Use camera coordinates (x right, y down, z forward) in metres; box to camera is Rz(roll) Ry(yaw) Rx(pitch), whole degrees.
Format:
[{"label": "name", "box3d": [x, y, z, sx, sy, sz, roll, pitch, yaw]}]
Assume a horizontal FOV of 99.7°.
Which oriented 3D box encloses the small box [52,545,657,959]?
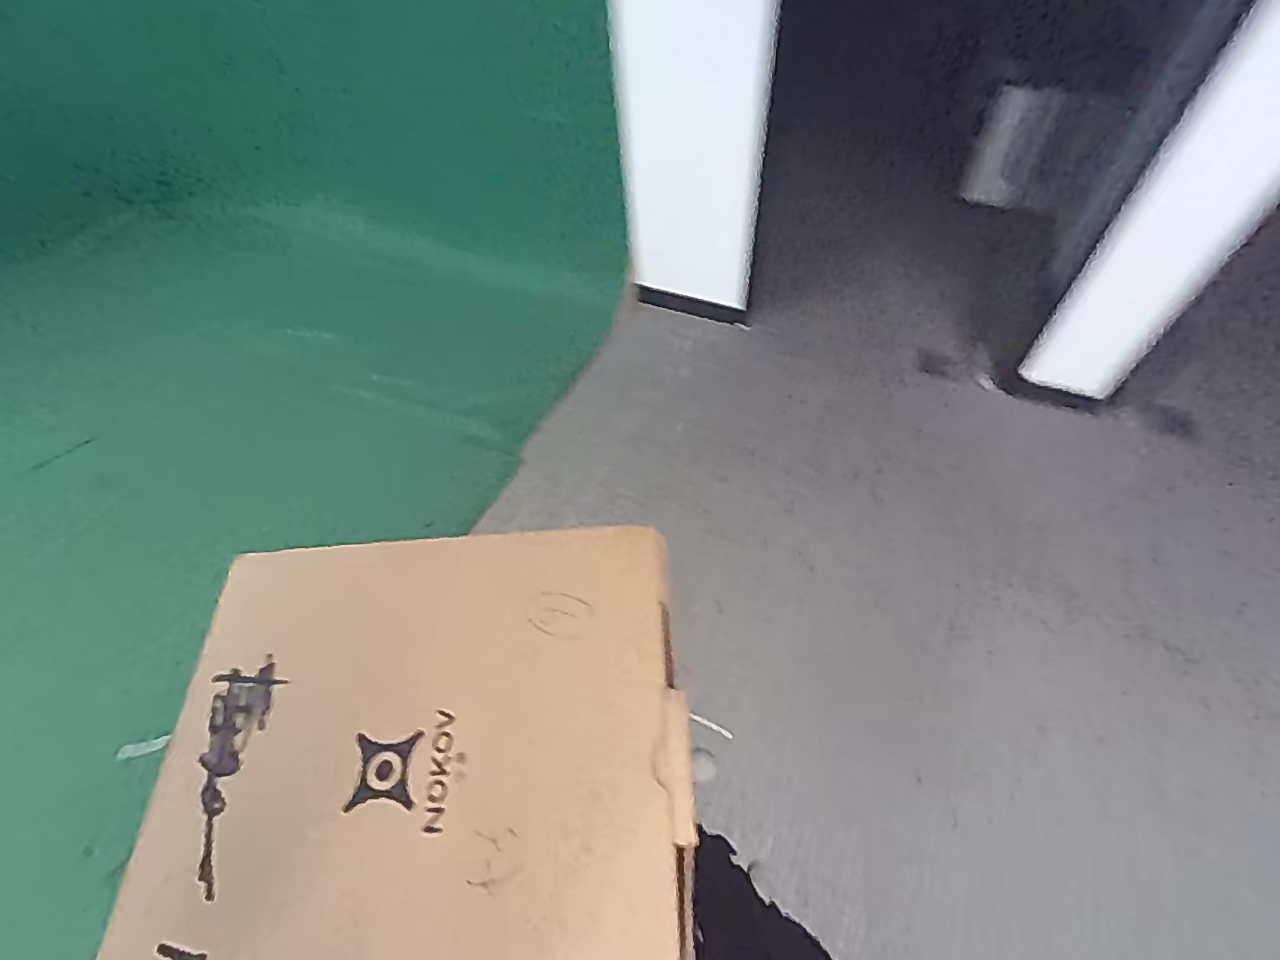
[{"label": "small box", "box3d": [-0.082, 0.138, 0.244, 0.179, 0.176, 0.168, -4, 61, 3]}]
